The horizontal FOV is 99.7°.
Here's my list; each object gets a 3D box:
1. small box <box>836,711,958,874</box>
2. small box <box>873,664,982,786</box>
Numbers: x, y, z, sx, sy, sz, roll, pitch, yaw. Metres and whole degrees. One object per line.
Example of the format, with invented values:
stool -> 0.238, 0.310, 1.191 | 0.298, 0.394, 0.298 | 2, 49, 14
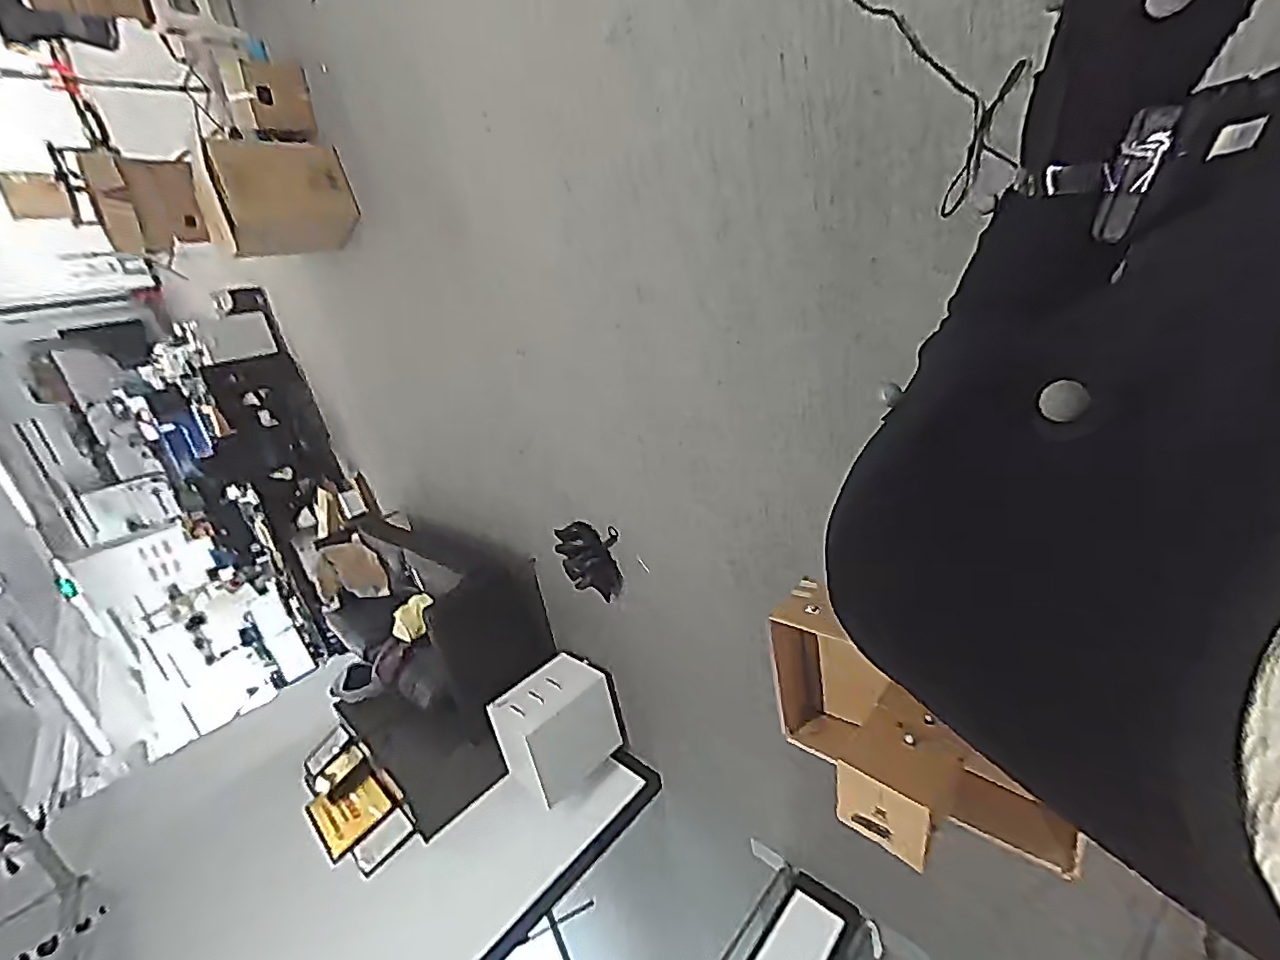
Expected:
small box -> 0.500, 0.597, 1.055 | 0.168, 0.176, 0.179 | 15, 122, 43
small box -> 0.610, 0.537, 1.160 | 0.168, 0.176, 0.179 | 17, 124, 41
